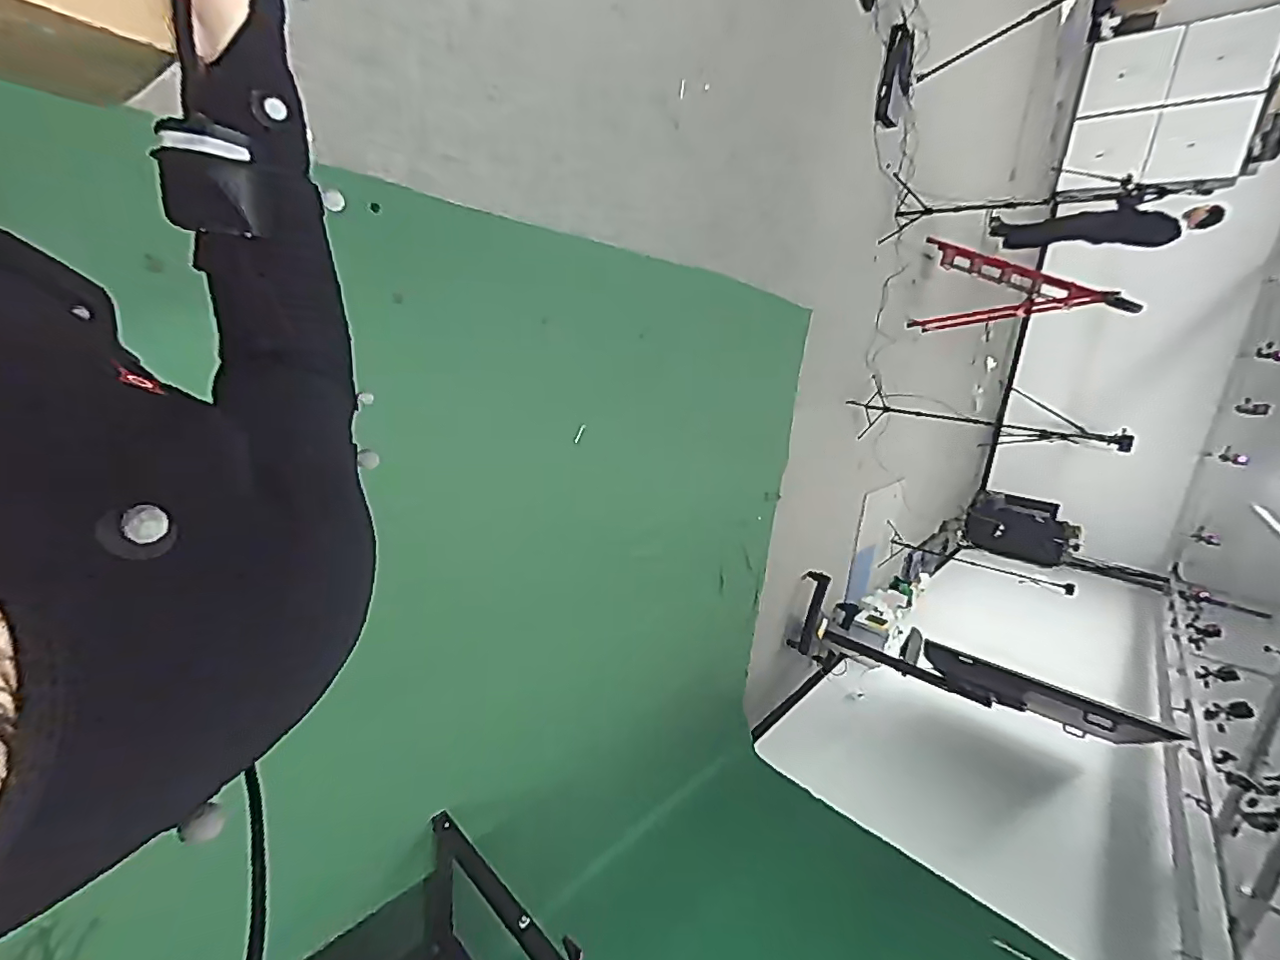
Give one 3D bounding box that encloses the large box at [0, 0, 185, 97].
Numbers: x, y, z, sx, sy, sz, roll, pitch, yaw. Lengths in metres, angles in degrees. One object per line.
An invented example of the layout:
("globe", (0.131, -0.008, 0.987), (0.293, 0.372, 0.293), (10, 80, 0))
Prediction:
("large box", (-0.516, -0.443, 0.249), (0.408, 0.320, 0.320), (-11, 116, -49))
